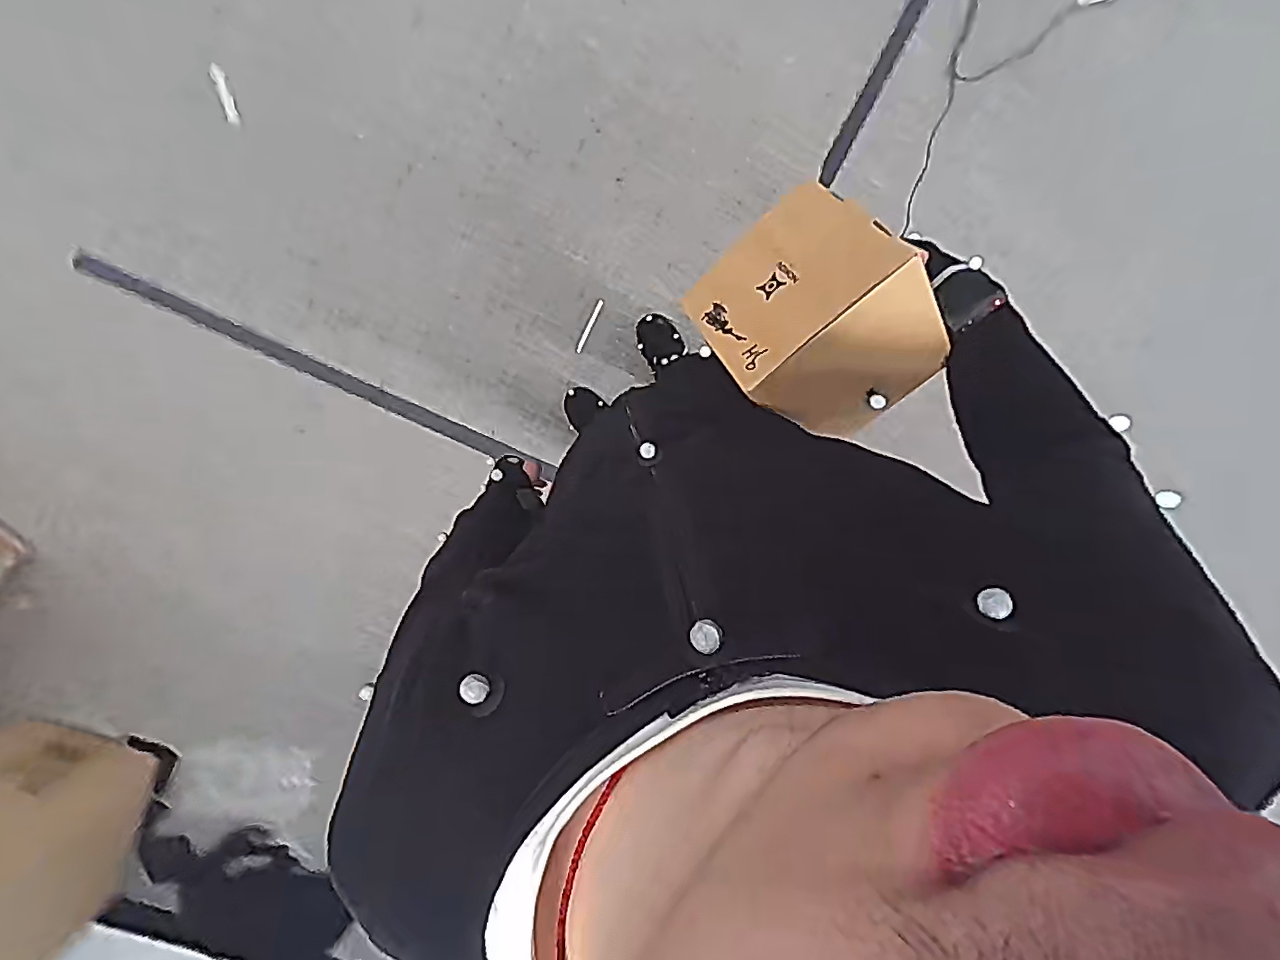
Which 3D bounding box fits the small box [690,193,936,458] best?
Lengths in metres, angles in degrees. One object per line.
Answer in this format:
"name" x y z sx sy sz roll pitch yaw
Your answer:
"small box" 0.191 -0.157 0.586 0.179 0.168 0.176 -39 138 18
